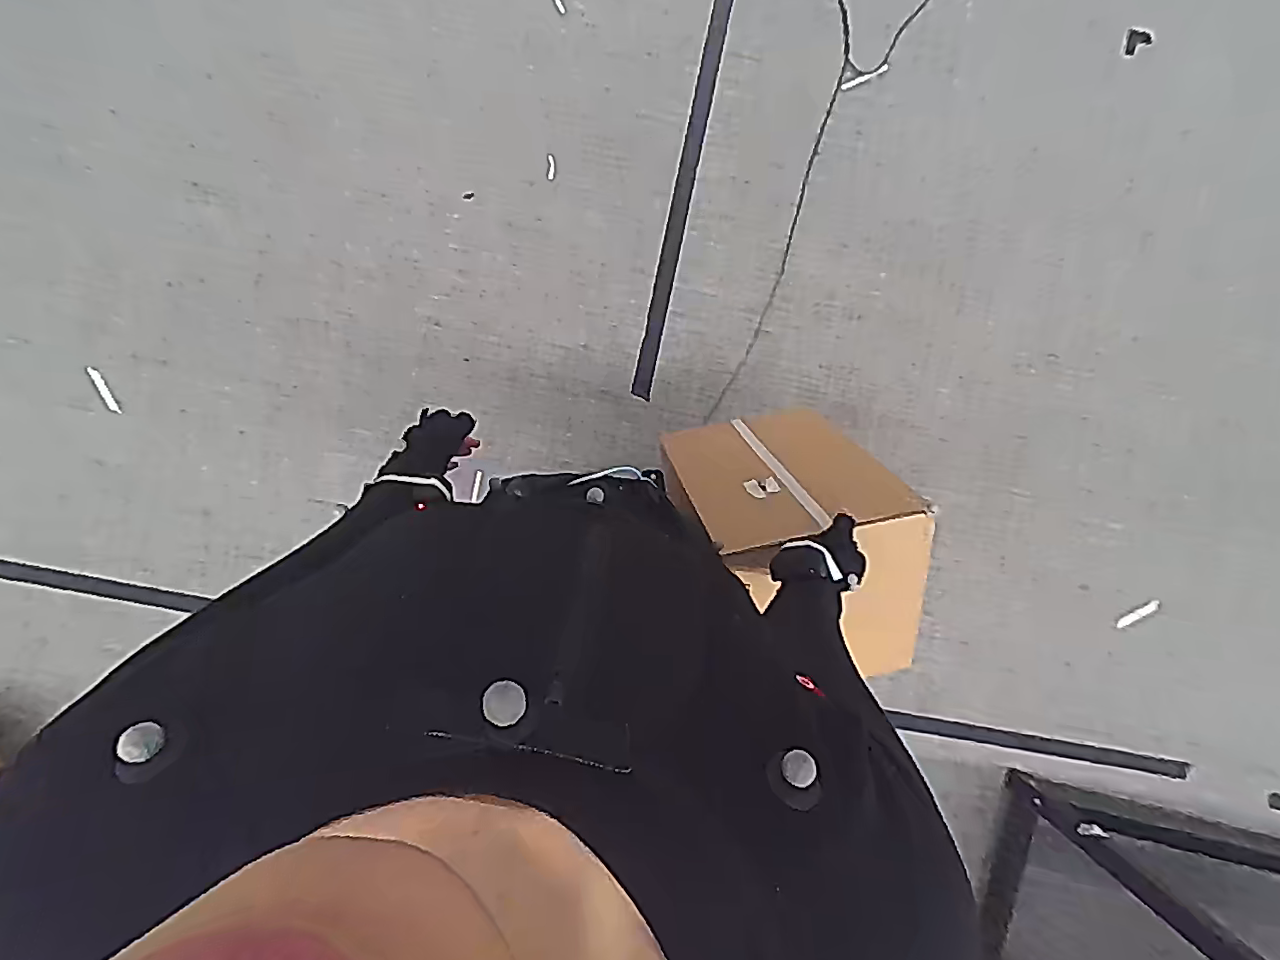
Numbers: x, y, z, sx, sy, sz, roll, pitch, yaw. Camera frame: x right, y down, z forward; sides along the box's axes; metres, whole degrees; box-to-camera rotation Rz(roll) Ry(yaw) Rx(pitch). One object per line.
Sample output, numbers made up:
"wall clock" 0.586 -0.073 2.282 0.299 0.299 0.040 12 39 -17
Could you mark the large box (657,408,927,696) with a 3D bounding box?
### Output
"large box" 0.237 0.105 0.991 0.320 0.408 0.320 -12 121 -5
